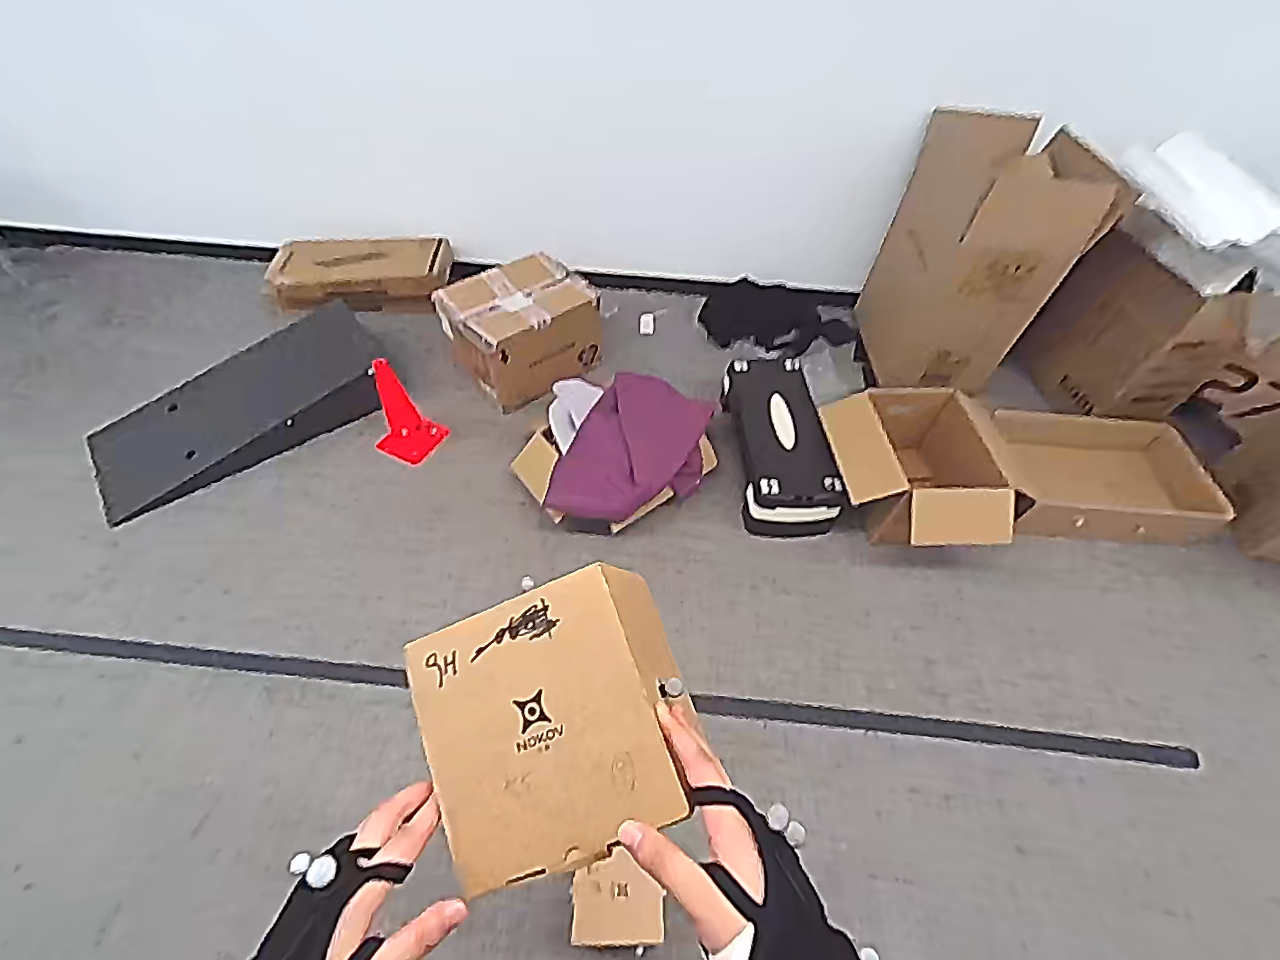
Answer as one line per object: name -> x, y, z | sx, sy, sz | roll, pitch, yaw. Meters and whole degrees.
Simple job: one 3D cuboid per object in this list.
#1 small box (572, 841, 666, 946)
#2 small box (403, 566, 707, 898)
small box -> -0.042, 0.848, 1.114 | 0.179, 0.176, 0.168 | 0, 51, -2
small box -> -0.054, 0.181, 0.443 | 0.168, 0.176, 0.179 | -24, 75, 6
